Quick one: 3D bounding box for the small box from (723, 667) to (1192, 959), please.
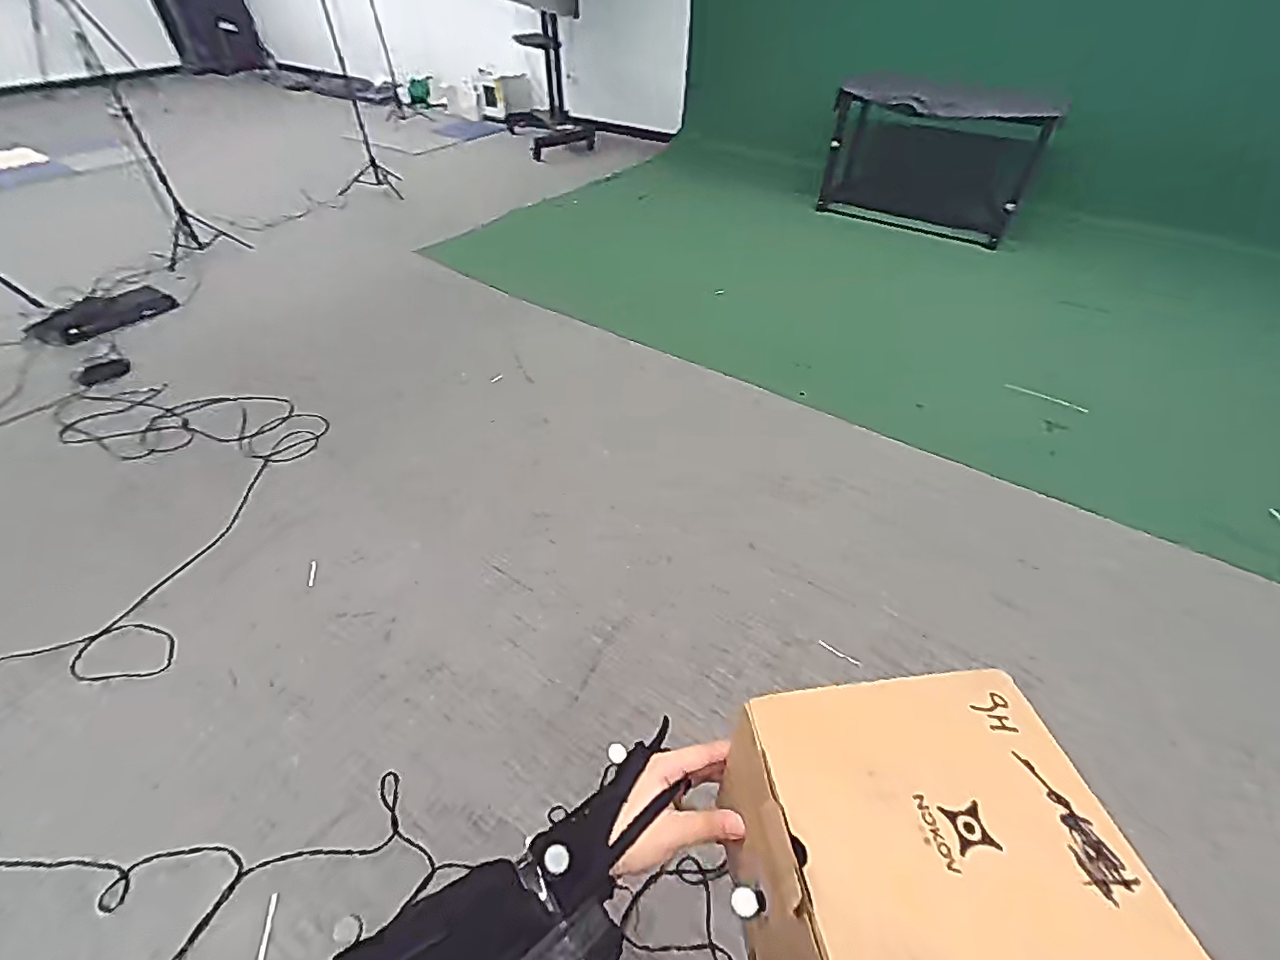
[{"bbox_3d":[0.155,0.243,0.338,0.179,0.176,0.168,-4,41,-6],"label":"small box"}]
